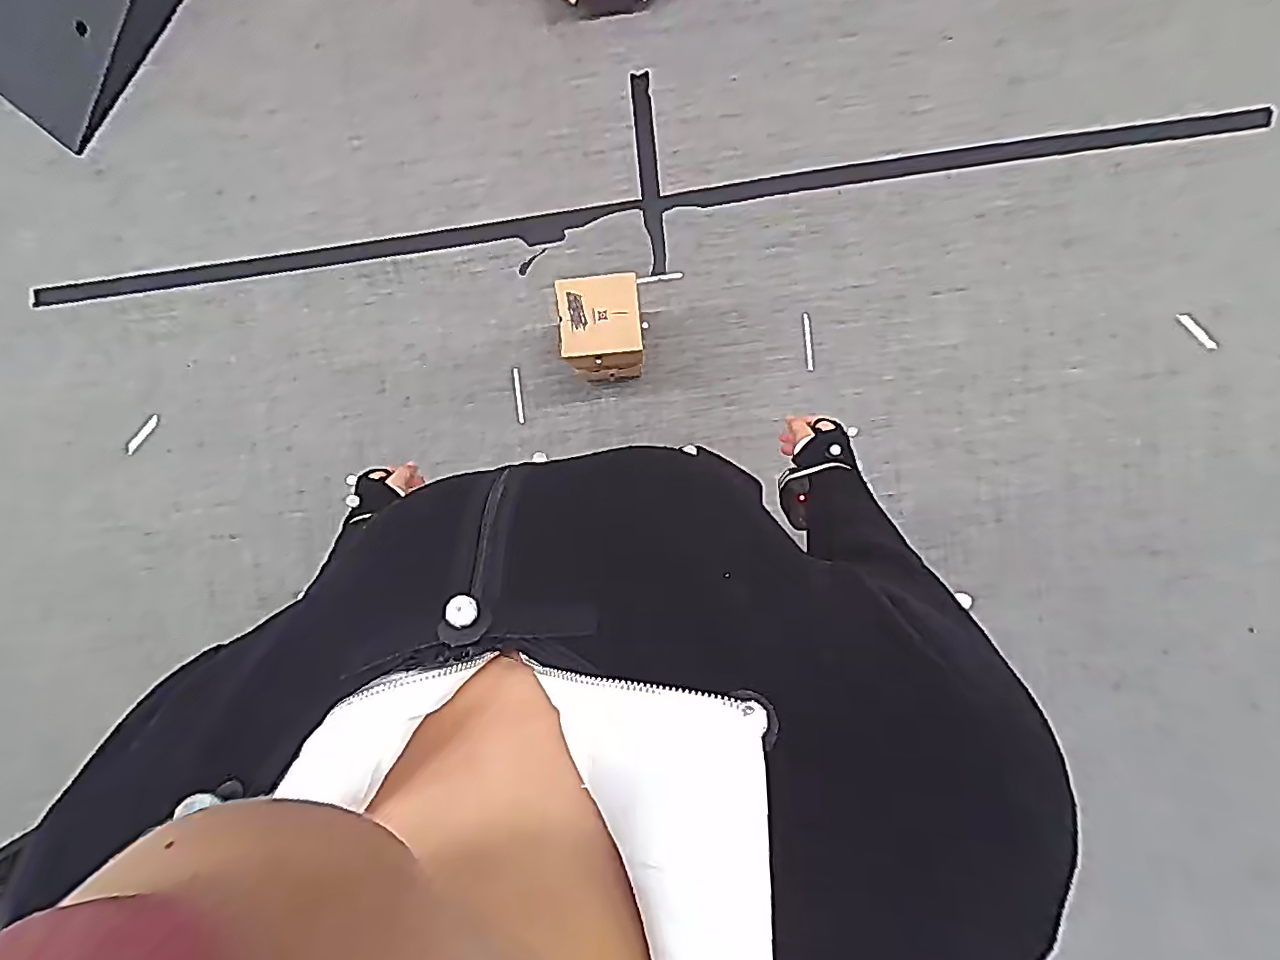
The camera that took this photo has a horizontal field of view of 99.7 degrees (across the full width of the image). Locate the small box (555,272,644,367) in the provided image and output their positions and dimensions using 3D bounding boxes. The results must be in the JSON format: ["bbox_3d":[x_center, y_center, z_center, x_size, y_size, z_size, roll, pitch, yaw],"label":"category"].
[{"bbox_3d":[-0.085,-0.354,1.220,0.179,0.176,0.168,-5,94,2],"label":"small box"}]

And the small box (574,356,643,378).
[{"bbox_3d":[-0.081,-0.359,1.386,0.168,0.176,0.179,-4,94,2],"label":"small box"}]
